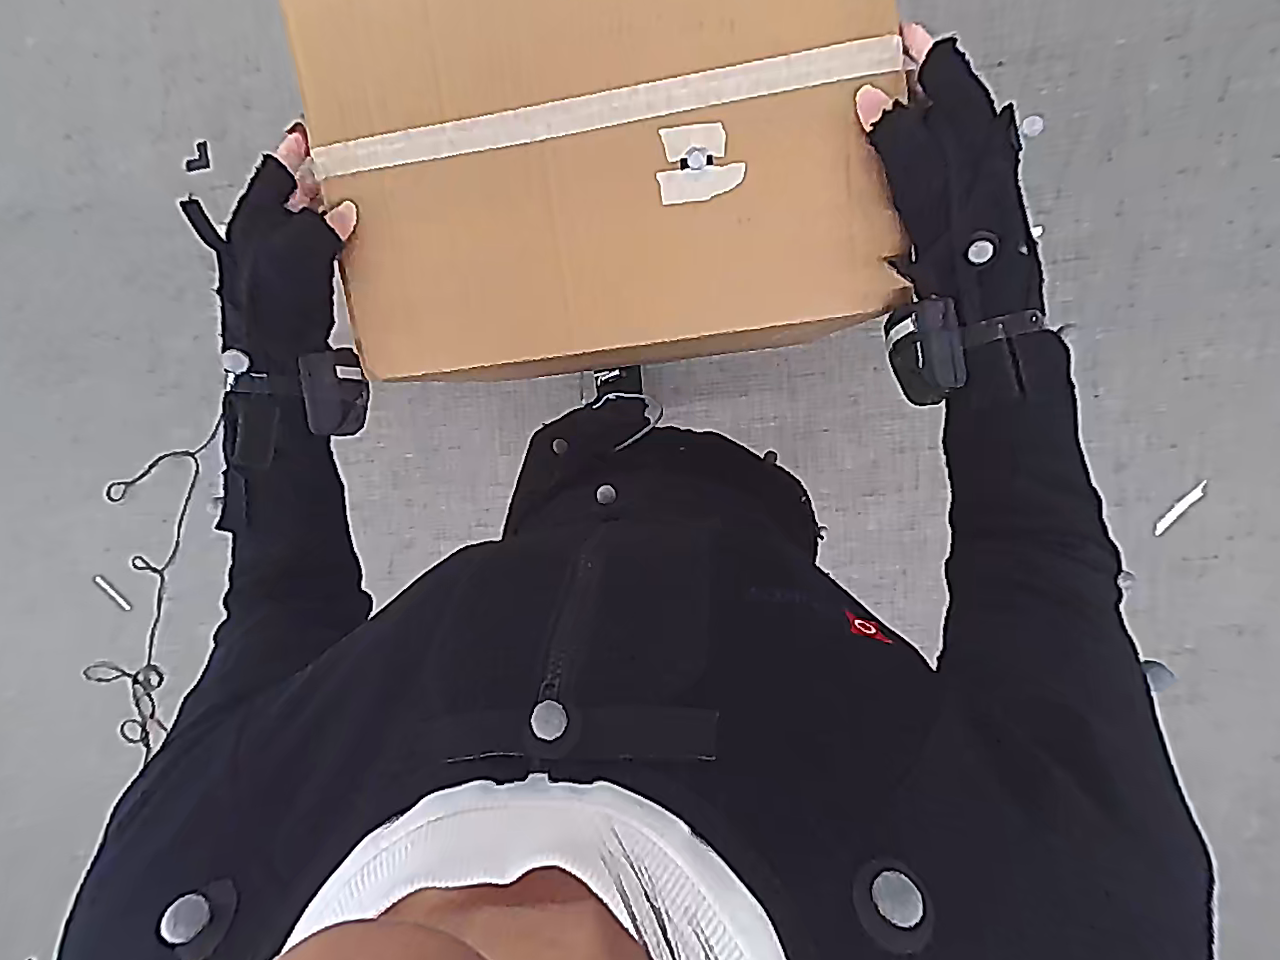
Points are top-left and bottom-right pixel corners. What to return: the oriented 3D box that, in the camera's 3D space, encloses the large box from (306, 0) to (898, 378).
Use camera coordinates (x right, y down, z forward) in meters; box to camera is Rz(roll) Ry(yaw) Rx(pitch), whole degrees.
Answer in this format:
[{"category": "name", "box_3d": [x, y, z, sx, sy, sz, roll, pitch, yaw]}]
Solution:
[{"category": "large box", "box_3d": [-0.019, -0.284, 0.532, 0.408, 0.320, 0.320, -7, 100, 6]}]
